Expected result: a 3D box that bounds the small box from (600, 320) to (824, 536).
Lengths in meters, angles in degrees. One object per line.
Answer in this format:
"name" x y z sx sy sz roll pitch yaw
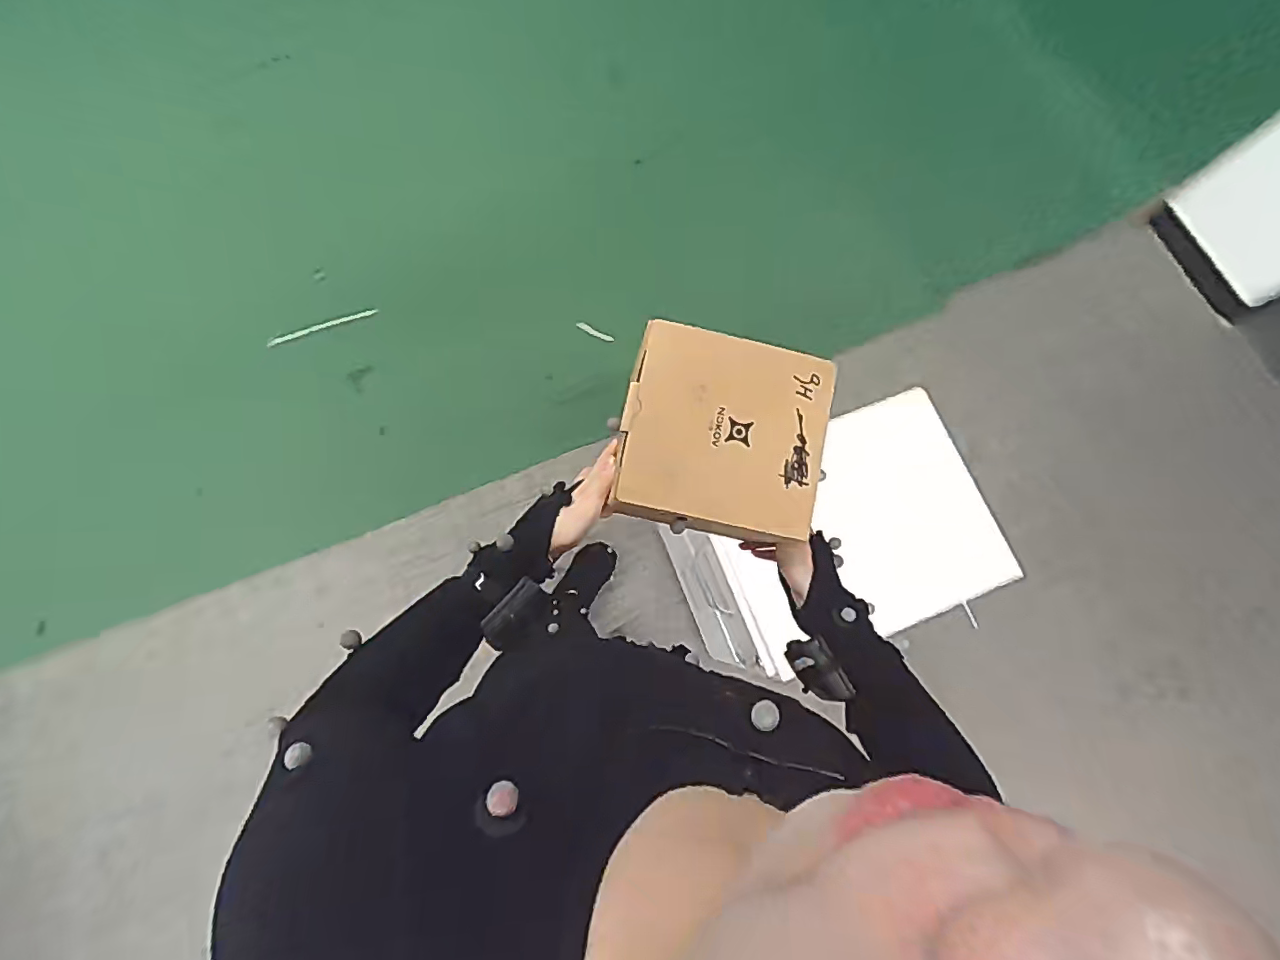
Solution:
"small box" 0.059 -0.037 0.547 0.179 0.176 0.168 11 83 -5
